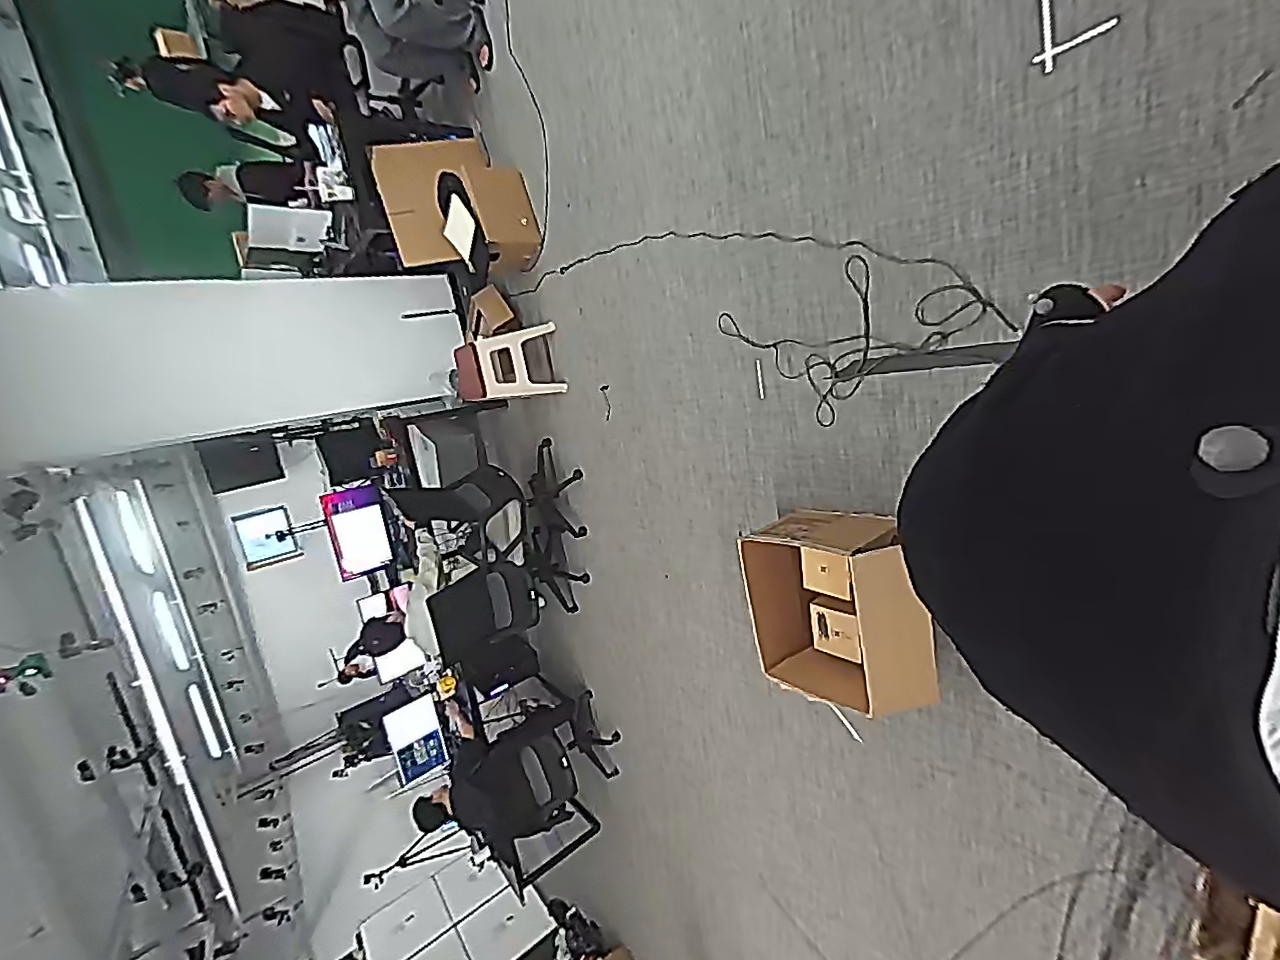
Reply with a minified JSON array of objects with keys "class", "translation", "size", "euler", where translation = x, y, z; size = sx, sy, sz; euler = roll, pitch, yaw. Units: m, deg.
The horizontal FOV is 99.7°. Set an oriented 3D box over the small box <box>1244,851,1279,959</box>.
[{"class":"small box","translation":[1.304,0.874,1.040],"size":[0.168,0.176,0.179],"euler":[11,111,51]}]
